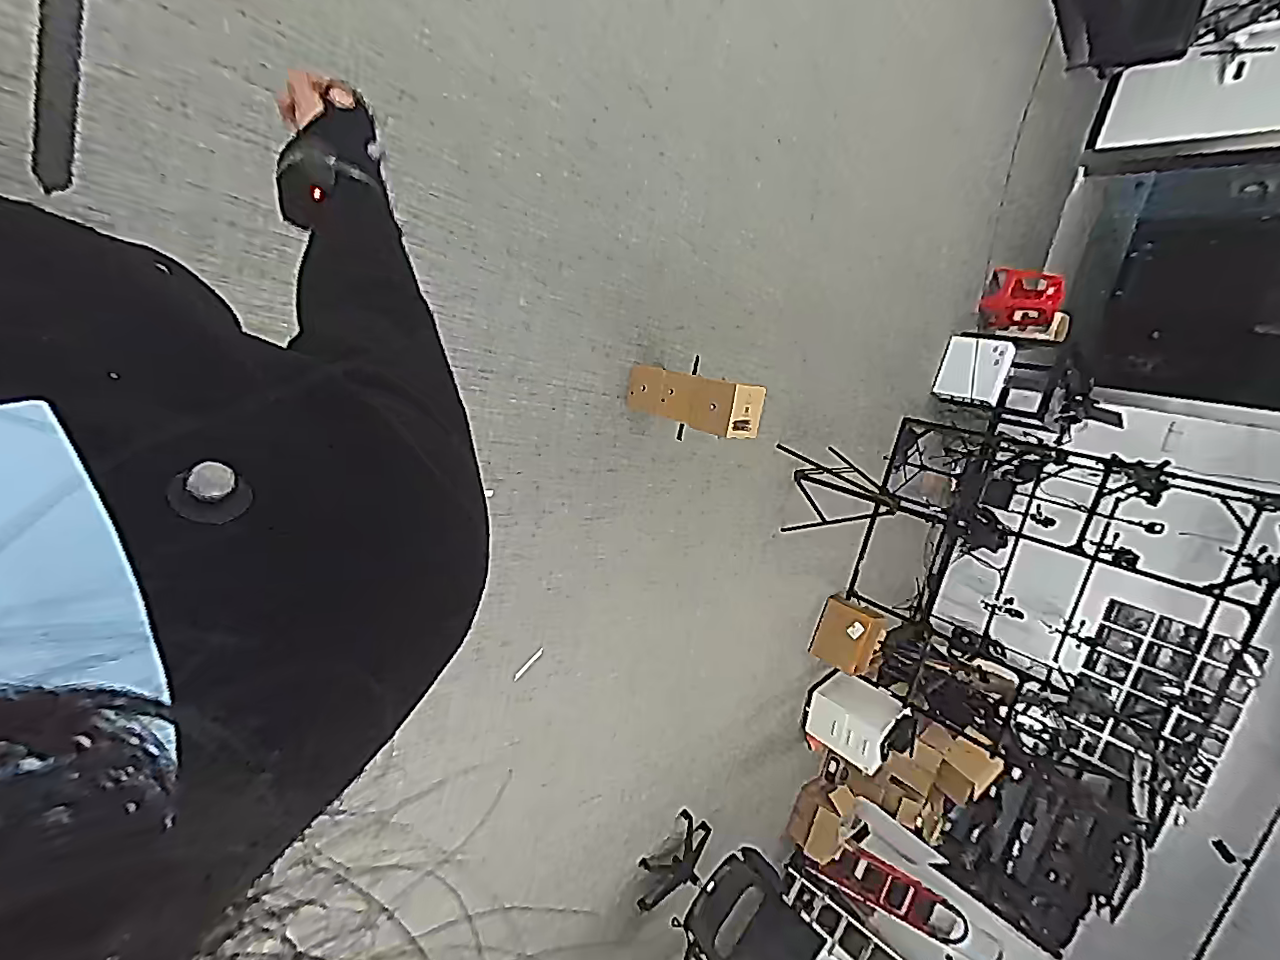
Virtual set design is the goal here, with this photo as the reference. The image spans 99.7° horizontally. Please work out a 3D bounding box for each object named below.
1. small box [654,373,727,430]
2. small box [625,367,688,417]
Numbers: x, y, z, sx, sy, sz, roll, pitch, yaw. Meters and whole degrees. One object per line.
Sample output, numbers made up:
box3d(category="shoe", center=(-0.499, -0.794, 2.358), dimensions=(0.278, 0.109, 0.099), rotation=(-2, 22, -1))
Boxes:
box3d(category="small box", center=(0.178, -0.281, 1.932), dimensions=(0.179, 0.176, 0.168), rotation=(0, 107, -45))
box3d(category="small box", center=(0.066, -0.328, 2.041), dimensions=(0.179, 0.176, 0.168), rotation=(-2, 109, -45))
